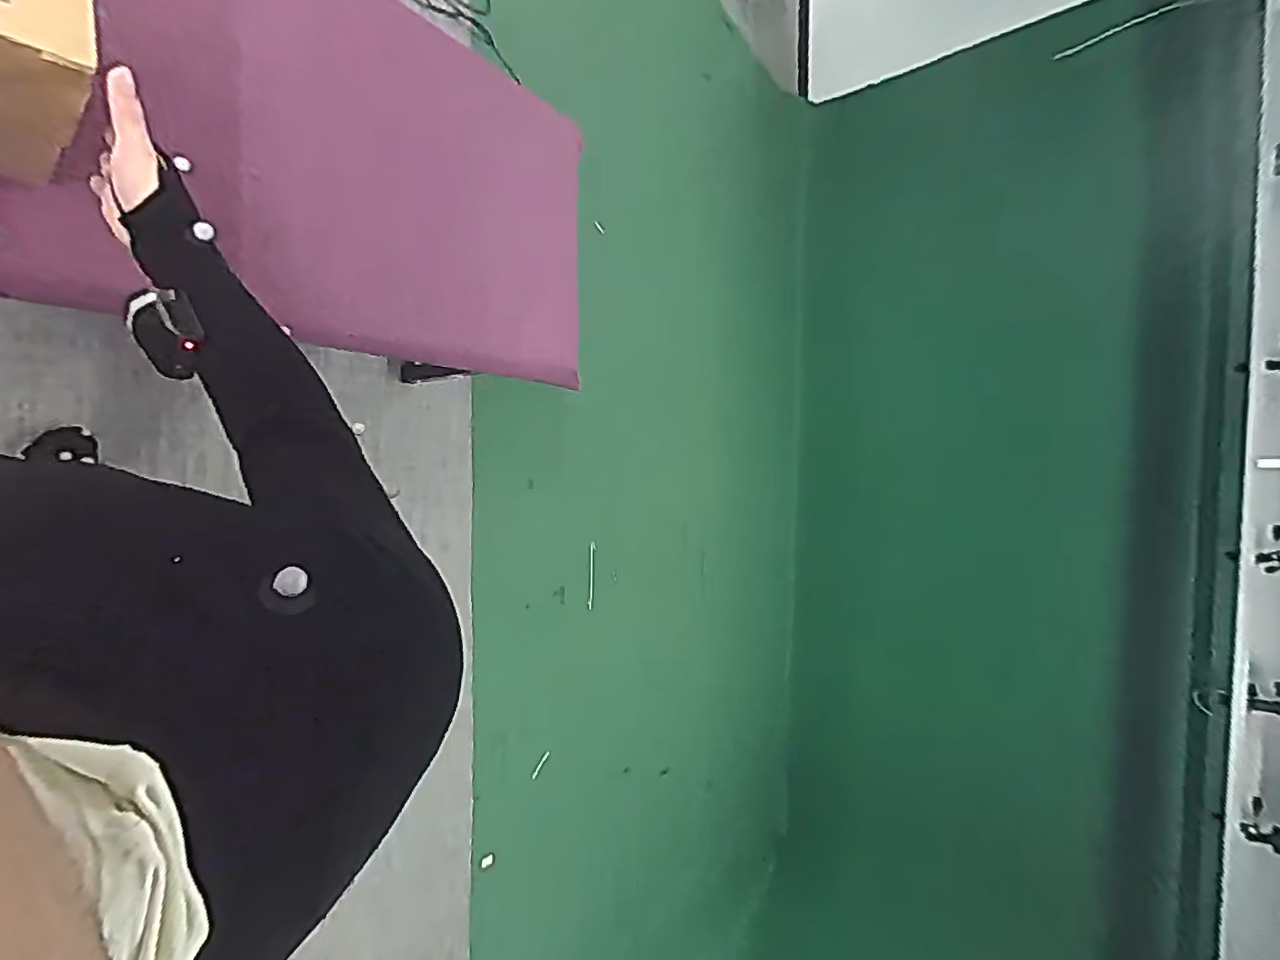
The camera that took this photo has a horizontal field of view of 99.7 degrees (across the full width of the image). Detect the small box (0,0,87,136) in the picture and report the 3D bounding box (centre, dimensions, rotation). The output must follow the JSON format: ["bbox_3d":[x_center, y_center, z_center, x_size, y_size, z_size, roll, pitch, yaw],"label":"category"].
[{"bbox_3d":[-0.558,-0.409,0.417,0.168,0.176,0.179,-6,95,-52],"label":"small box"}]

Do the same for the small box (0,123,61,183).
[{"bbox_3d":[-0.689,-0.422,0.516,0.168,0.176,0.179,-5,96,-52],"label":"small box"}]
